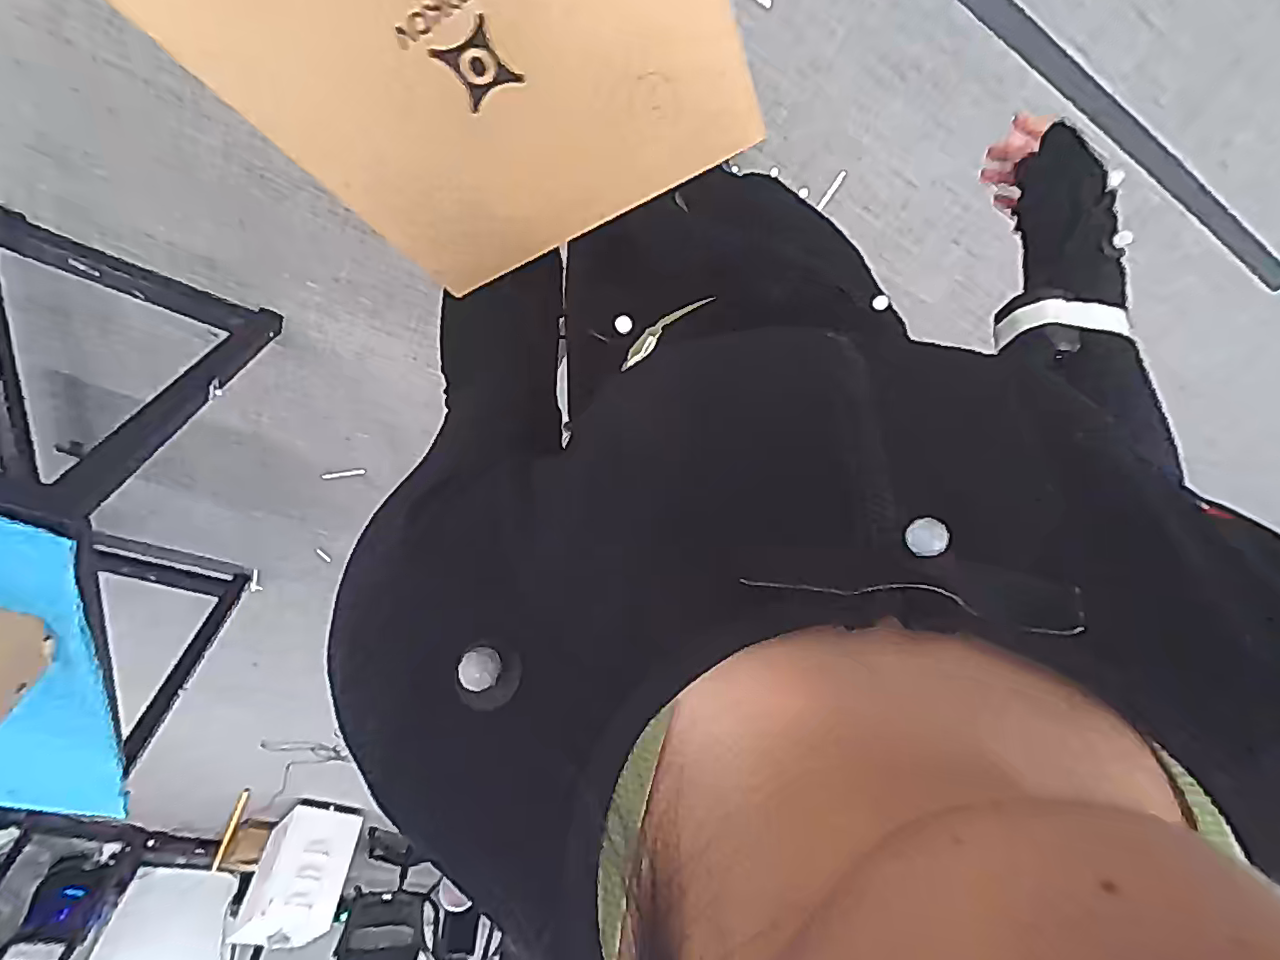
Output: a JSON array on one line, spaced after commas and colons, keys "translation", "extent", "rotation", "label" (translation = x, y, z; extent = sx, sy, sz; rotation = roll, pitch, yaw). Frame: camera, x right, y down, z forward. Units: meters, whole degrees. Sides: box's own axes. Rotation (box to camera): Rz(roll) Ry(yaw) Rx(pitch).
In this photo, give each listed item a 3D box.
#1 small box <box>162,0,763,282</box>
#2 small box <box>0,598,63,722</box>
[{"translation": [-0.064, -0.227, 0.220], "extent": [0.168, 0.176, 0.179], "rotation": [-19, 152, 19], "label": "small box"}, {"translation": [-1.148, 0.307, 0.906], "extent": [0.179, 0.176, 0.168], "rotation": [21, 127, -20], "label": "small box"}]
